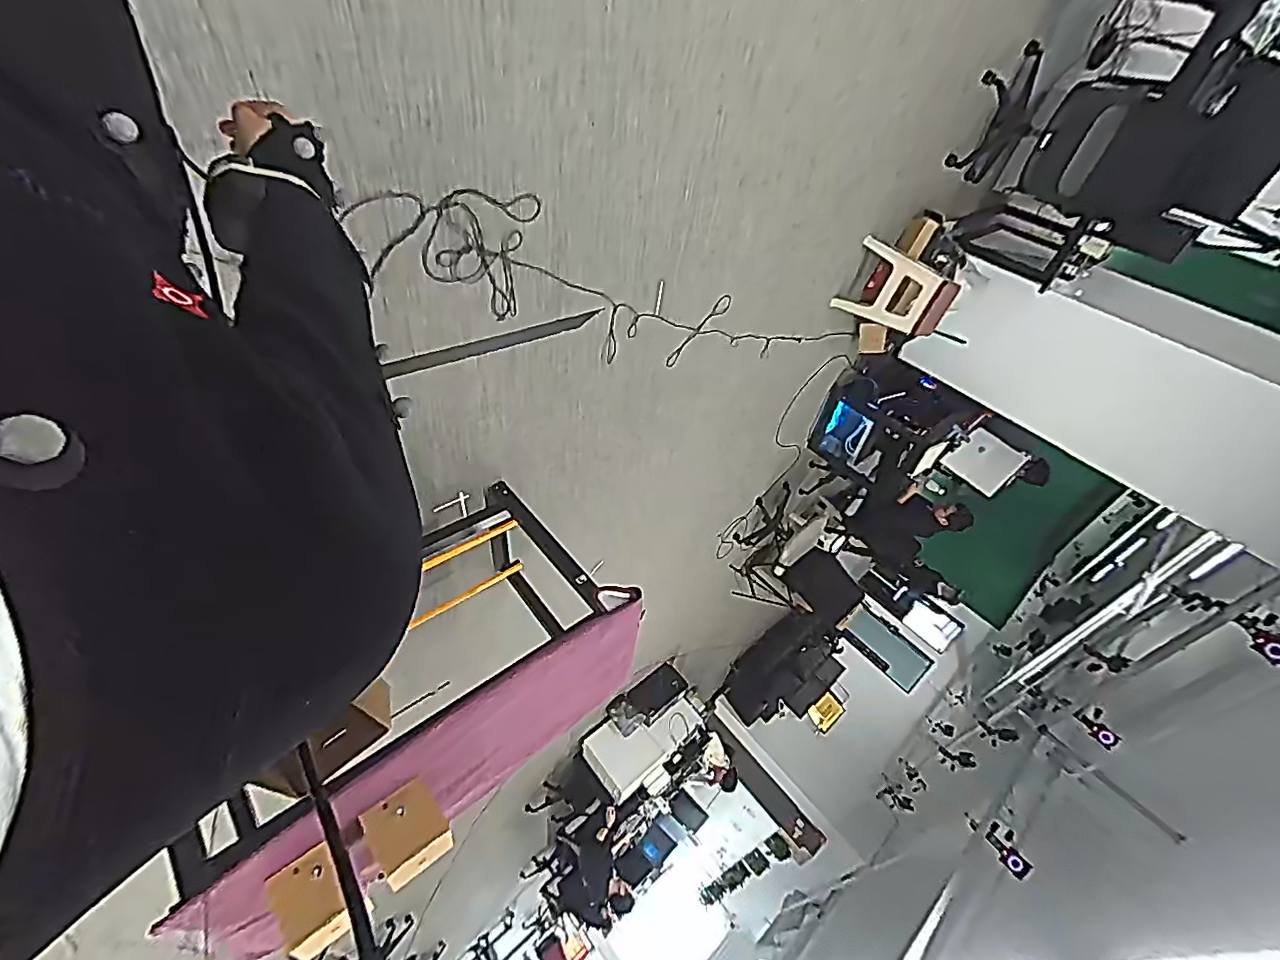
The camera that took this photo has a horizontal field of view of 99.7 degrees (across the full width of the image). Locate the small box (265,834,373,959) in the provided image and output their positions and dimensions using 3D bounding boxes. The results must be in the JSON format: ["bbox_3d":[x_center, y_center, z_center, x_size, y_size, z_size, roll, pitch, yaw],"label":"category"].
[{"bbox_3d":[-0.772,1.001,1.306,0.168,0.176,0.179,-25,145,-35],"label":"small box"}]

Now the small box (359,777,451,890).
[{"bbox_3d":[-0.613,0.921,1.419,0.168,0.176,0.179,-25,145,-35],"label":"small box"}]
